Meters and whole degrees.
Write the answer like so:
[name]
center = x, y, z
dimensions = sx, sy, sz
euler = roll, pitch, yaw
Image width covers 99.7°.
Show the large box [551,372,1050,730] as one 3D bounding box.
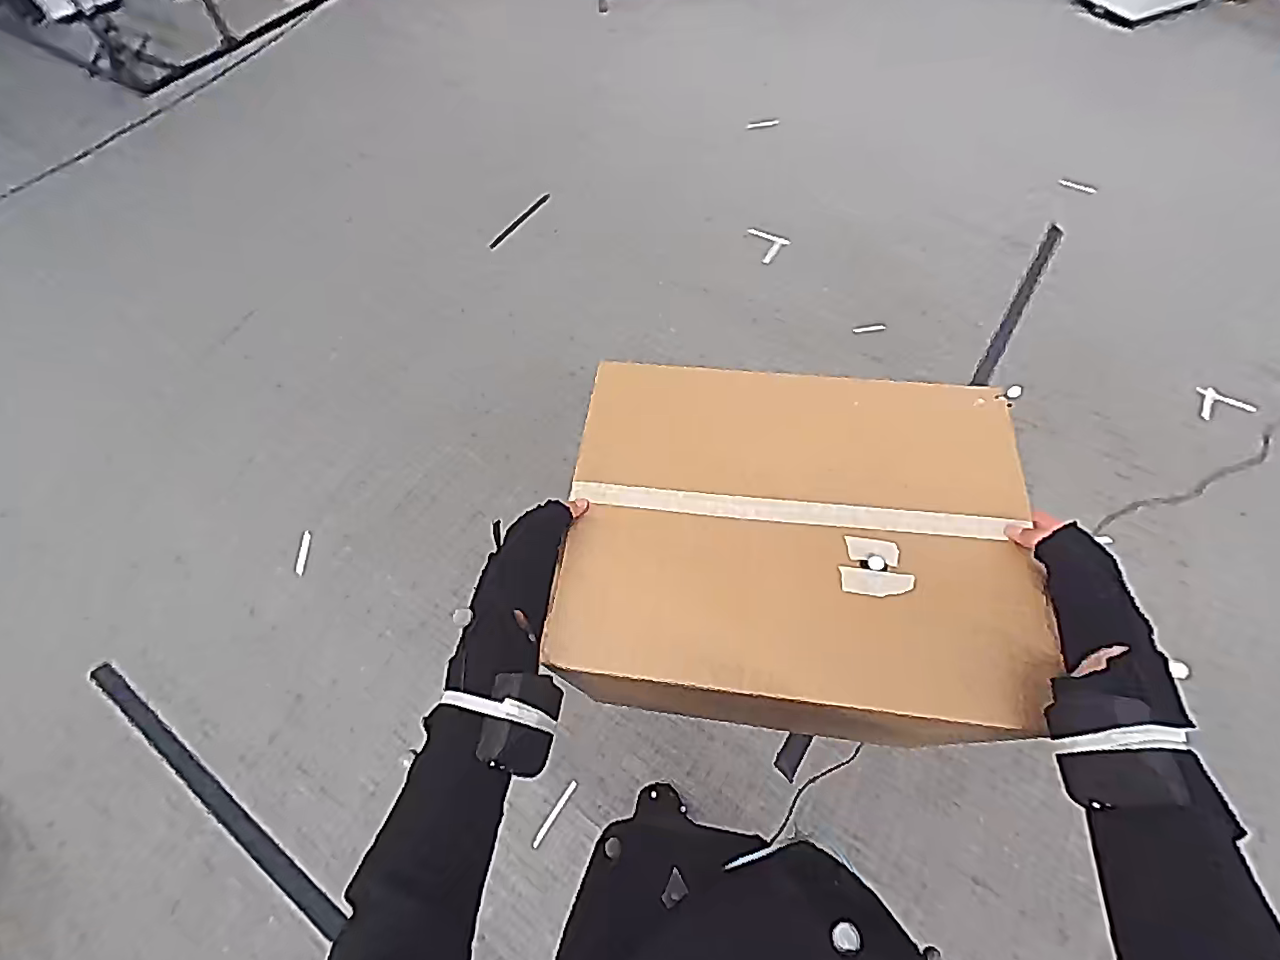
[large box]
center = 0.142, 0.099, 0.631
dimensions = 0.408, 0.320, 0.320
euler = 5, 64, 6
